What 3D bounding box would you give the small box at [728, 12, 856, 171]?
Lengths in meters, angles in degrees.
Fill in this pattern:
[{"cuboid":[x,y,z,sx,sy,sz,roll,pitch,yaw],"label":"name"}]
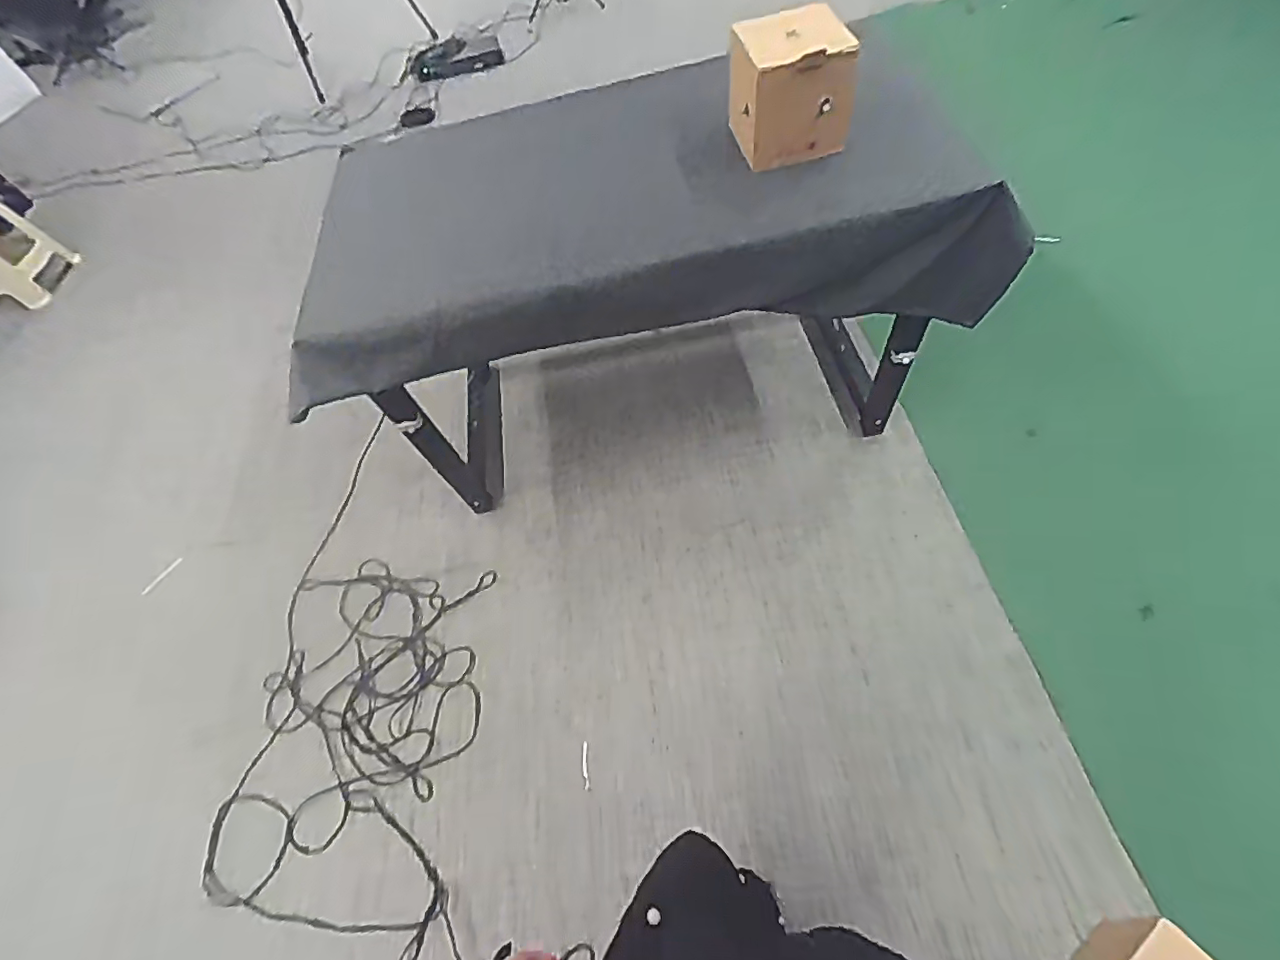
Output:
[{"cuboid":[0.256,-0.671,0.951,0.168,0.176,0.179,-12,57,1],"label":"small box"}]
